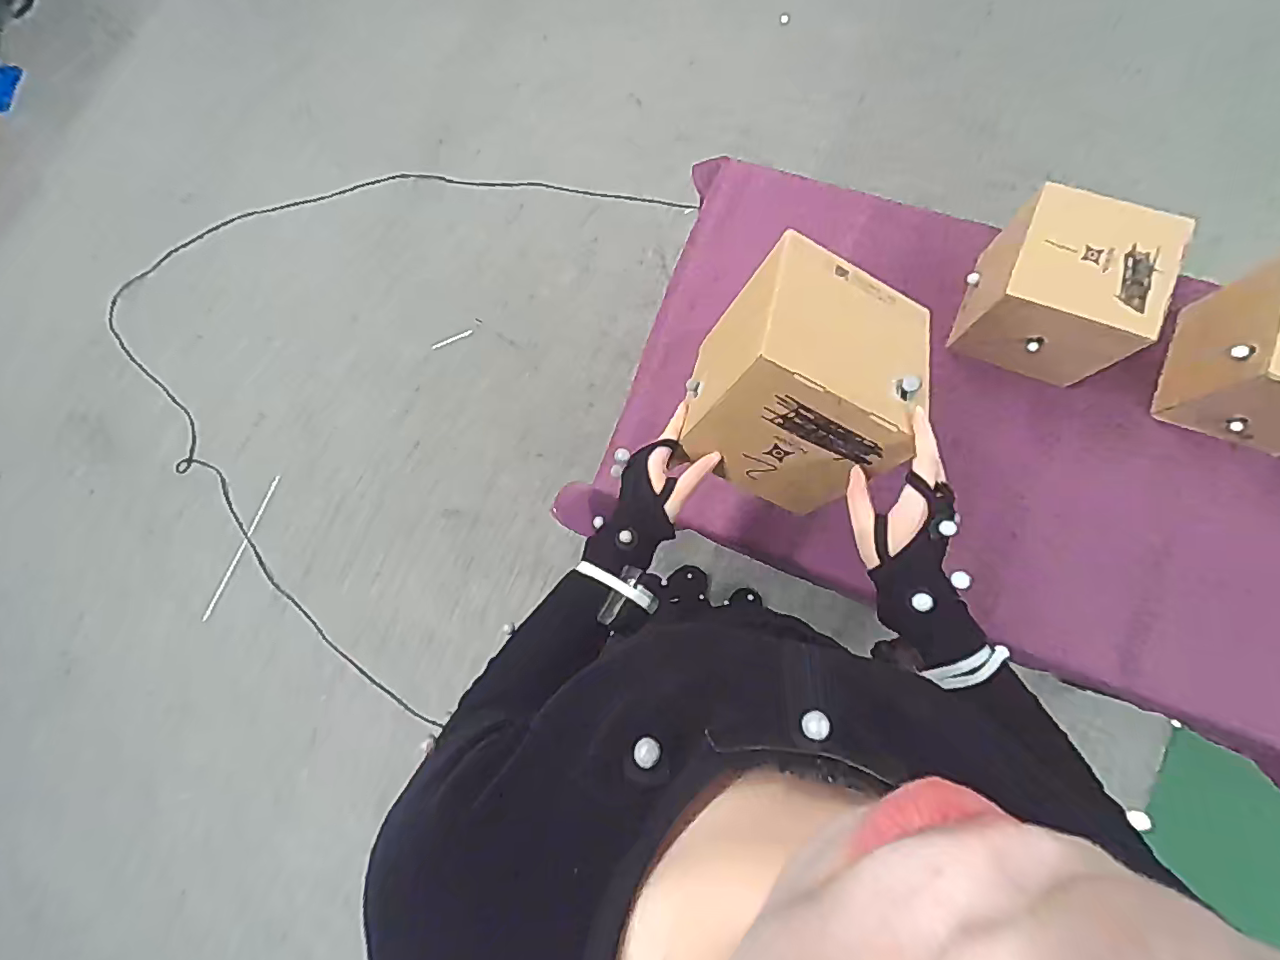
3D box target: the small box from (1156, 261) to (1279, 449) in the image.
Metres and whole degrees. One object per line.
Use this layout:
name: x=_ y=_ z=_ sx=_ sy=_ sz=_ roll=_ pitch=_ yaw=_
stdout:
small box: x=0.818 y=-0.158 z=0.683 sx=0.168 sy=0.176 sz=0.179 roll=21 pitch=85 yaw=10

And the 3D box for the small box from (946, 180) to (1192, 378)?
small box: x=0.557 y=-0.255 z=0.729 sx=0.179 sy=0.176 sz=0.168 roll=23 pitch=84 yaw=11
